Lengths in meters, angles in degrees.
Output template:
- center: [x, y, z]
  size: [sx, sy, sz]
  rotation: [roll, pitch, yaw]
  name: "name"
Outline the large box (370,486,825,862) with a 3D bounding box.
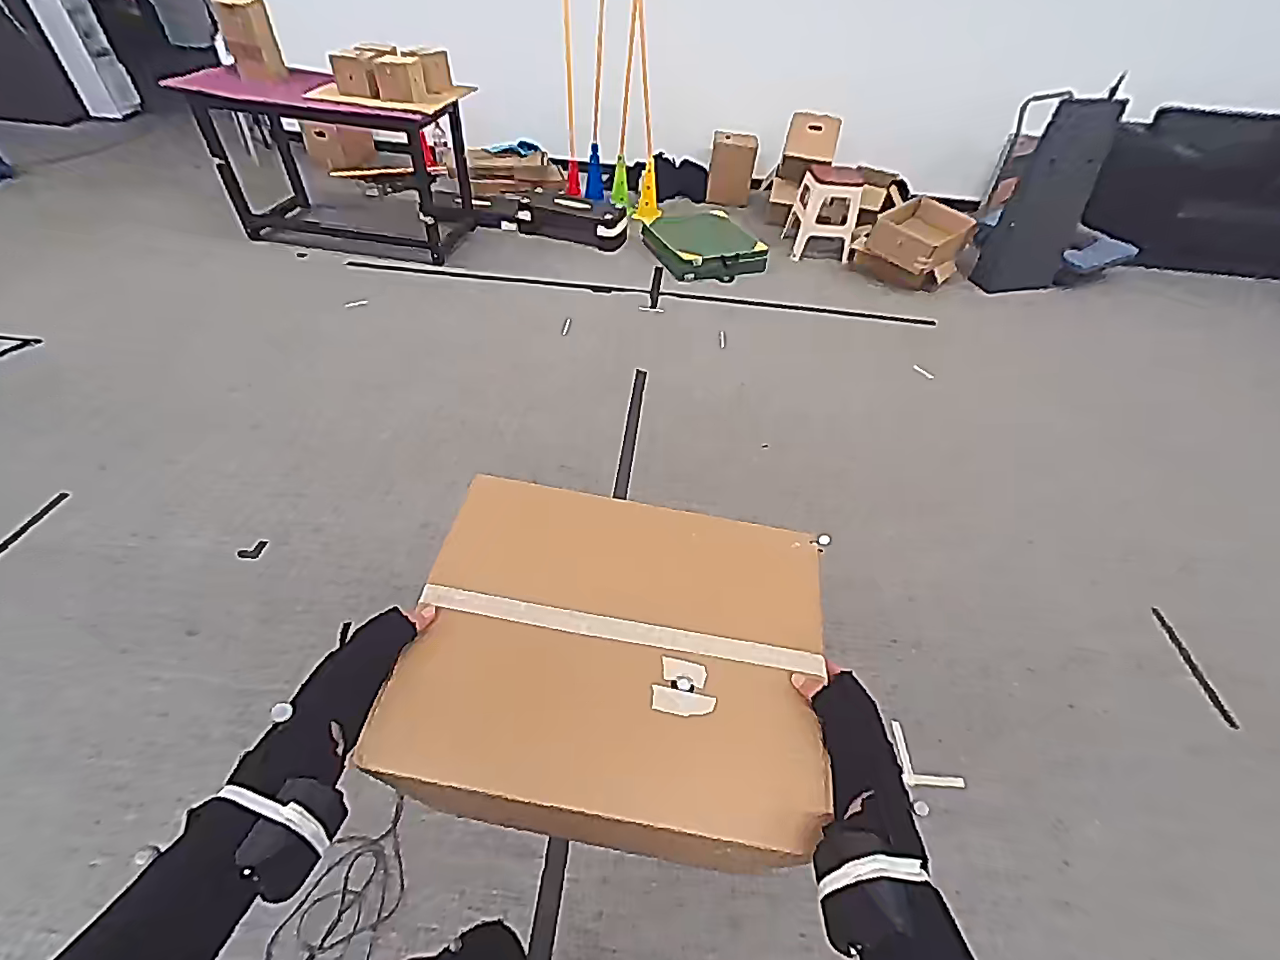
- center: [-0.032, 0.246, 0.666]
  size: [0.408, 0.320, 0.320]
  rotation: [11, 54, 2]
  name: "large box"
